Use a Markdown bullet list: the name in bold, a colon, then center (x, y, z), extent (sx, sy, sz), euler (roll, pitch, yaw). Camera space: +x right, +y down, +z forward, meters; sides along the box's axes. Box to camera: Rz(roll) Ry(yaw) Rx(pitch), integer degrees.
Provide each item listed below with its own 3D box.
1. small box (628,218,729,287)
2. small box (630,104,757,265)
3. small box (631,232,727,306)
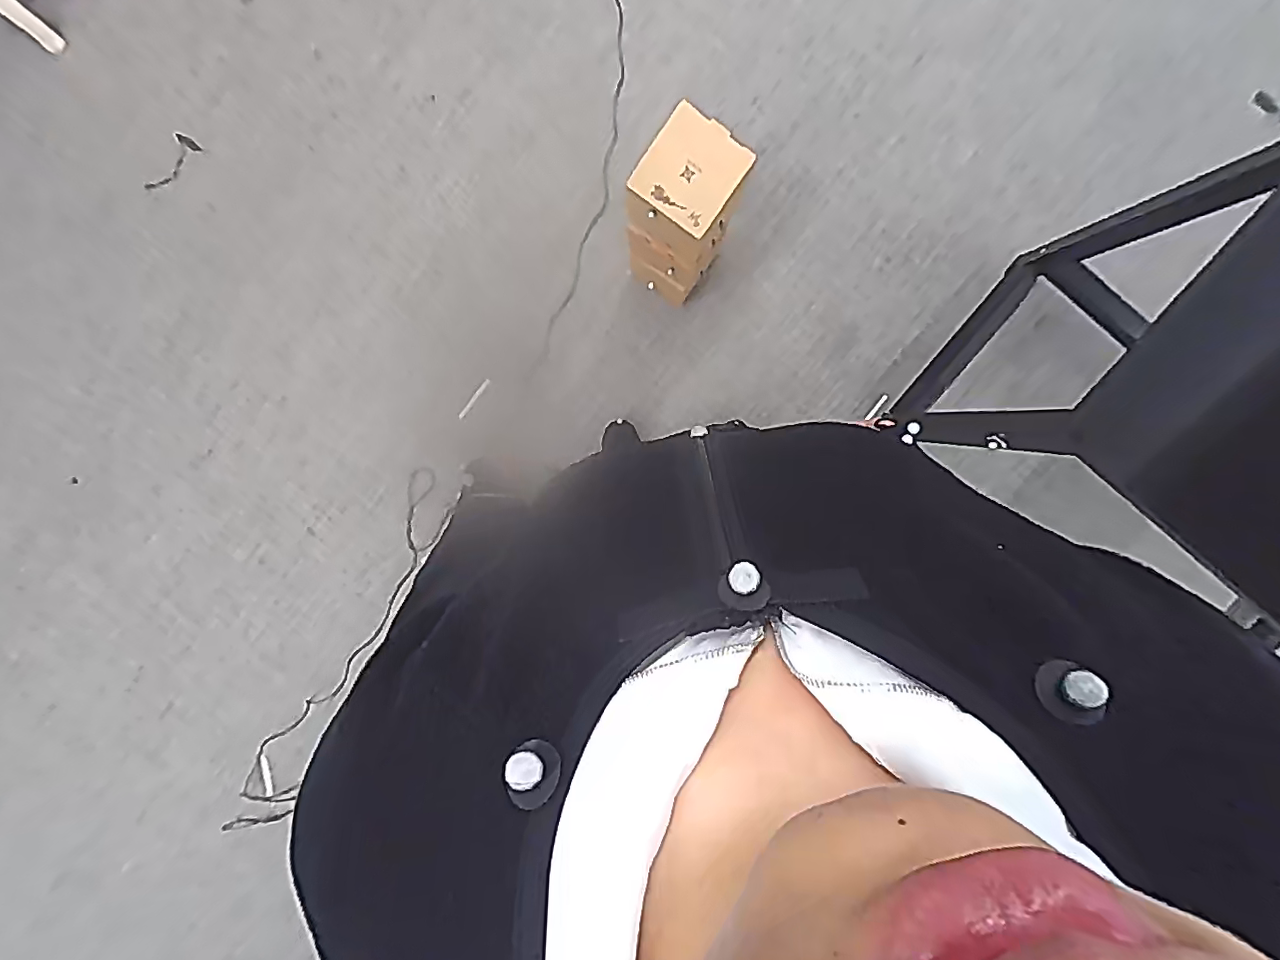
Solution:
- **small box**: center (0.090, -0.558, 1.197), extent (0.168, 0.176, 0.179), euler (32, 94, -3)
- **small box**: center (0.093, -0.549, 1.032), extent (0.168, 0.176, 0.179), euler (36, 95, -2)
- **small box**: center (0.092, -0.569, 1.358), extent (0.168, 0.176, 0.179), euler (36, 96, -2)
